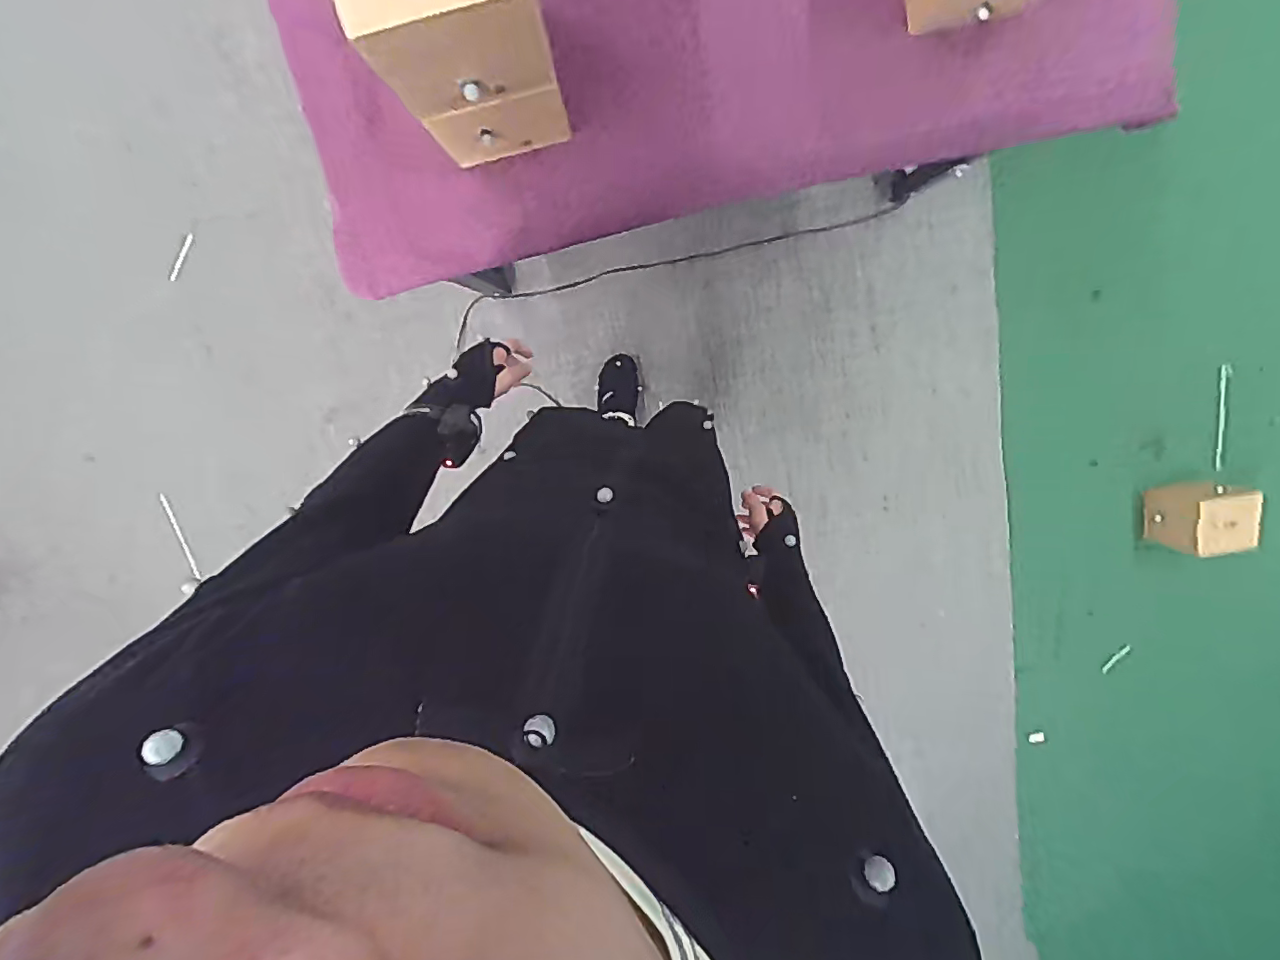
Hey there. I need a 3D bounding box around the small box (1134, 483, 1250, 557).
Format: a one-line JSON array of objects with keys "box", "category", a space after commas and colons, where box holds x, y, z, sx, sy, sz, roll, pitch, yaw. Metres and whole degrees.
[{"box": [1.648, 0.113, 1.623, 0.179, 0.176, 0.168, -9, 103, 1], "category": "small box"}]

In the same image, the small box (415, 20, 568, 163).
[{"box": [-0.195, -0.527, 0.682, 0.168, 0.176, 0.179, -14, 102, 1], "category": "small box"}]

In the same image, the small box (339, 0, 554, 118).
[{"box": [-0.190, -0.495, 0.521, 0.168, 0.176, 0.179, -13, 103, 2], "category": "small box"}]
